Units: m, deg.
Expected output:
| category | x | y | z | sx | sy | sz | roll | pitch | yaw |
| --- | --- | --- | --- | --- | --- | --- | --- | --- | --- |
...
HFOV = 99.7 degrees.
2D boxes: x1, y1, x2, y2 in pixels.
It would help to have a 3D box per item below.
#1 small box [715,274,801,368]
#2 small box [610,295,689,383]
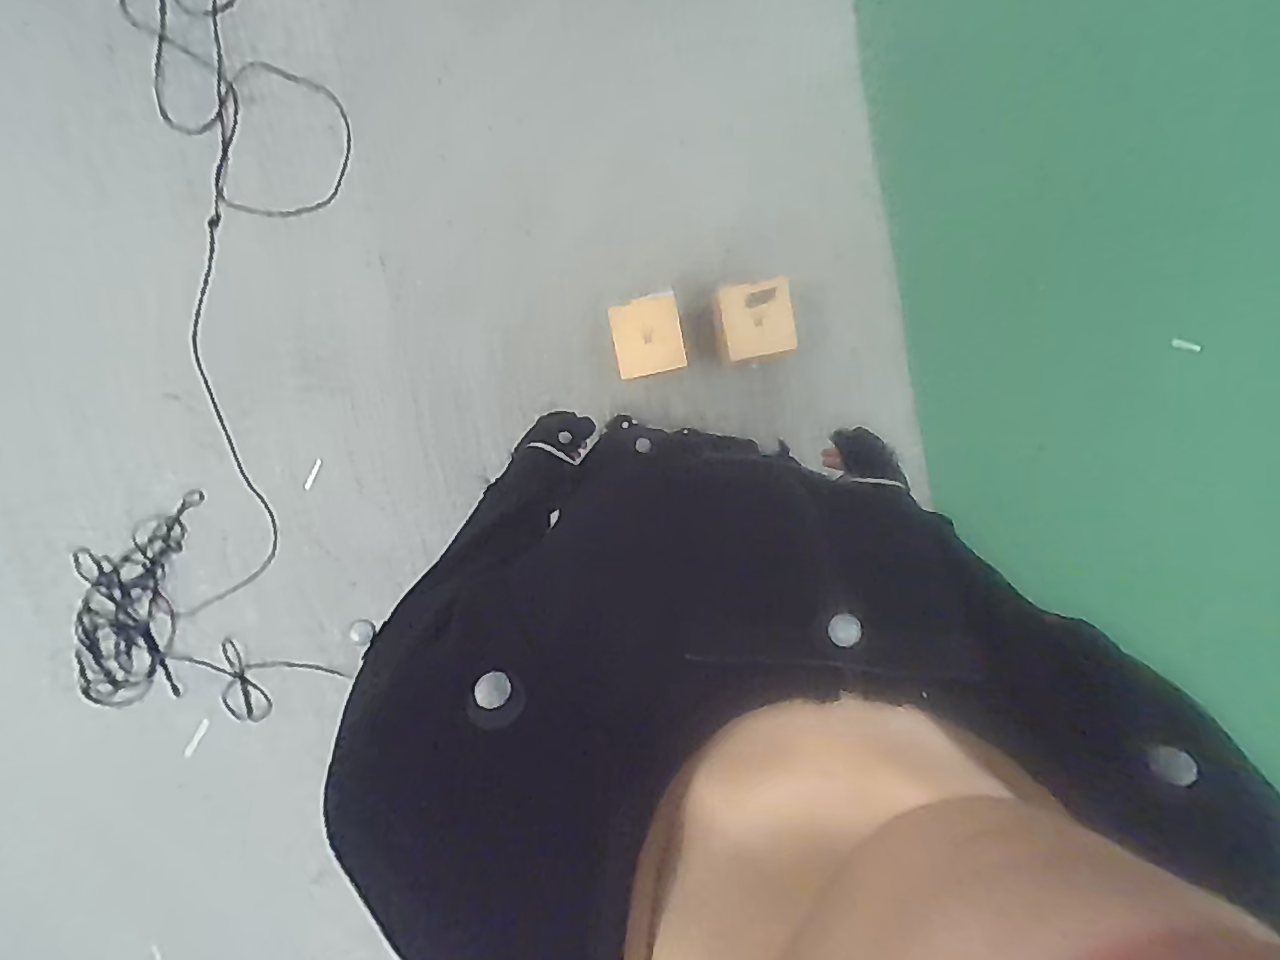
| category | x | y | z | sx | sy | sz | roll | pitch | yaw |
| --- | --- | --- | --- | --- | --- | --- | --- | --- | --- |
| small box | 0.288 | -0.389 | 1.352 | 0.168 | 0.176 | 0.179 | -11 | 95 | 3 |
| small box | 0.029 | -0.347 | 1.368 | 0.168 | 0.176 | 0.179 | -12 | 94 | 3 |
